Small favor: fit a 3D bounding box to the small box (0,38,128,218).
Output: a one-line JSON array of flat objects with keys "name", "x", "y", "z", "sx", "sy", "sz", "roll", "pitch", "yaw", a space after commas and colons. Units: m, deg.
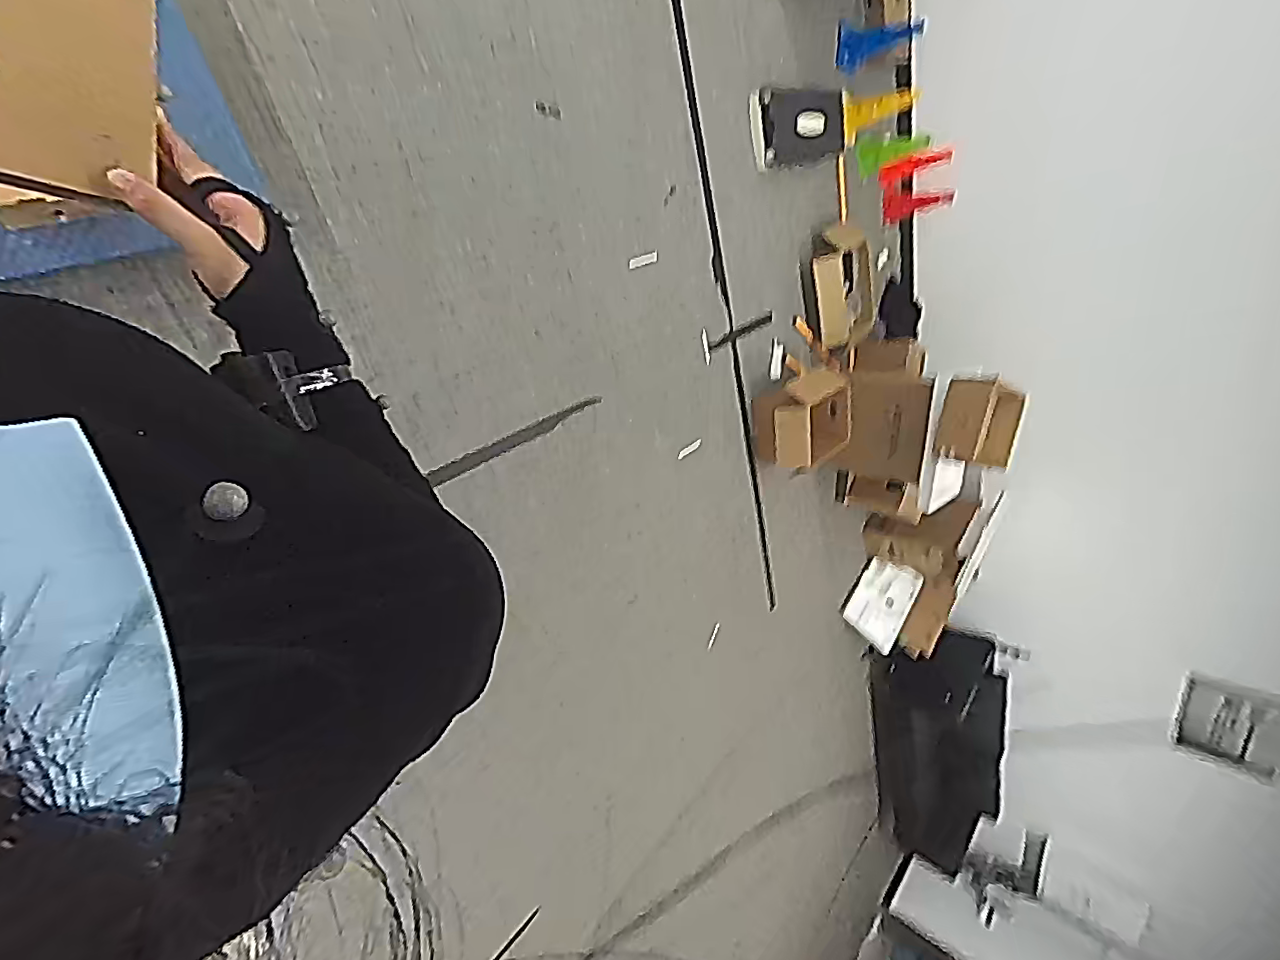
[{"name": "small box", "x": -0.897, "y": -0.500, "z": 0.781, "sx": 0.168, "sy": 0.176, "sz": 0.179, "roll": -35, "pitch": 123, "yaw": -34}]
